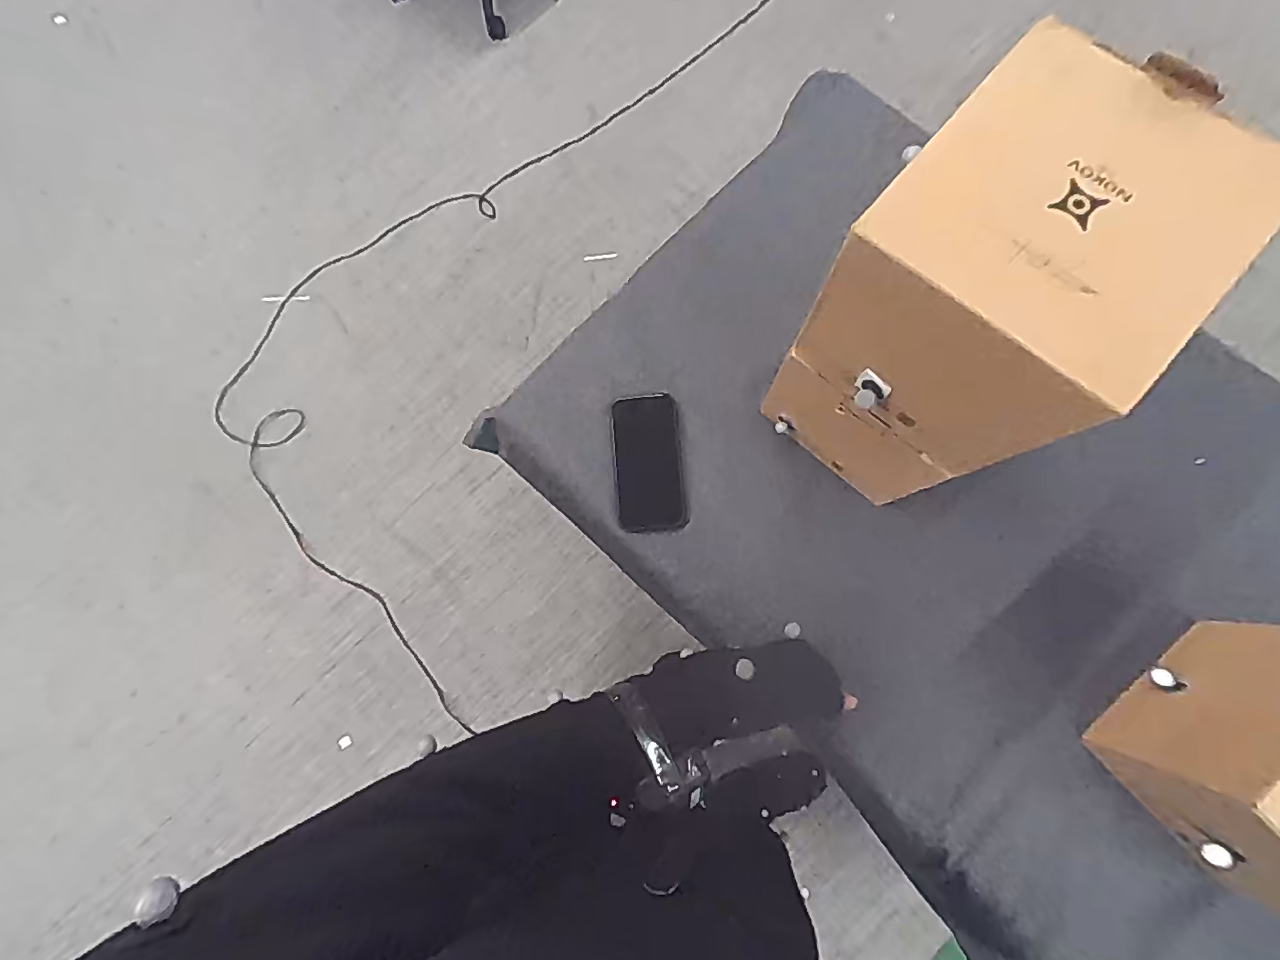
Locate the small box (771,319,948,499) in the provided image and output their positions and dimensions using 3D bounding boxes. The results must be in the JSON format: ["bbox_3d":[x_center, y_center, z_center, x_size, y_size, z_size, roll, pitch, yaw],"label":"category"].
[{"bbox_3d":[0.247,-0.101,0.529,0.168,0.176,0.179,41,84,10],"label":"small box"}]

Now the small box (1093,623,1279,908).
[{"bbox_3d":[0.537,0.240,0.447,0.179,0.176,0.168,-41,80,-4],"label":"small box"}]

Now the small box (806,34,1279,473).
[{"bbox_3d":[0.239,-0.129,0.370,0.168,0.176,0.179,40,86,10],"label":"small box"}]
